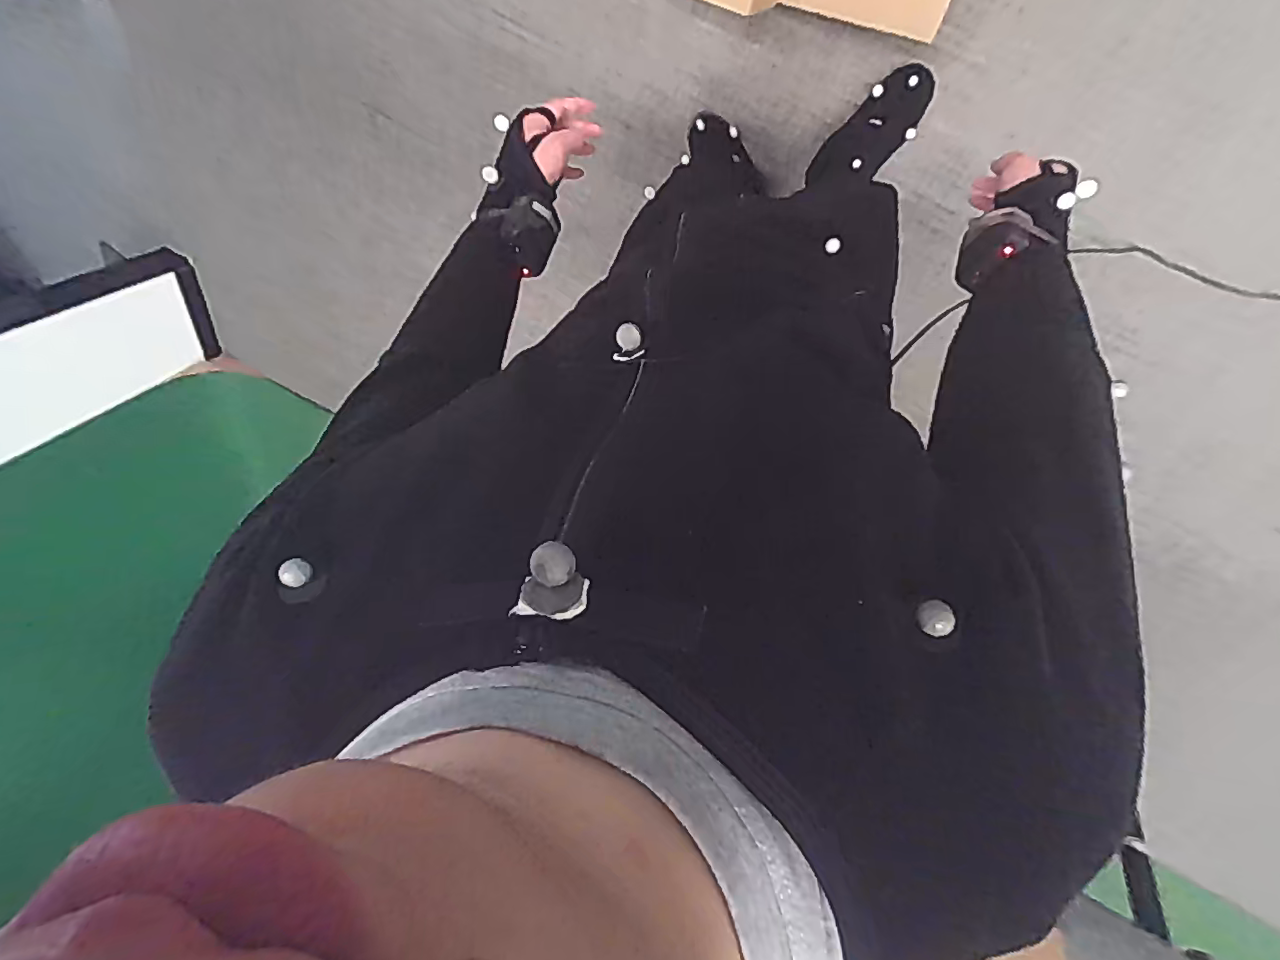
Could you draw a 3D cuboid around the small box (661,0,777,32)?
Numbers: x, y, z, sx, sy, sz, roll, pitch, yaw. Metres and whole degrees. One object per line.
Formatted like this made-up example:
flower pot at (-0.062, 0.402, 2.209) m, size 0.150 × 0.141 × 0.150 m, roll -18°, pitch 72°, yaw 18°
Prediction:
small box at (0.118, -0.744, 0.726) m, size 0.168 × 0.176 × 0.179 m, roll 26°, pitch 139°, yaw 6°
